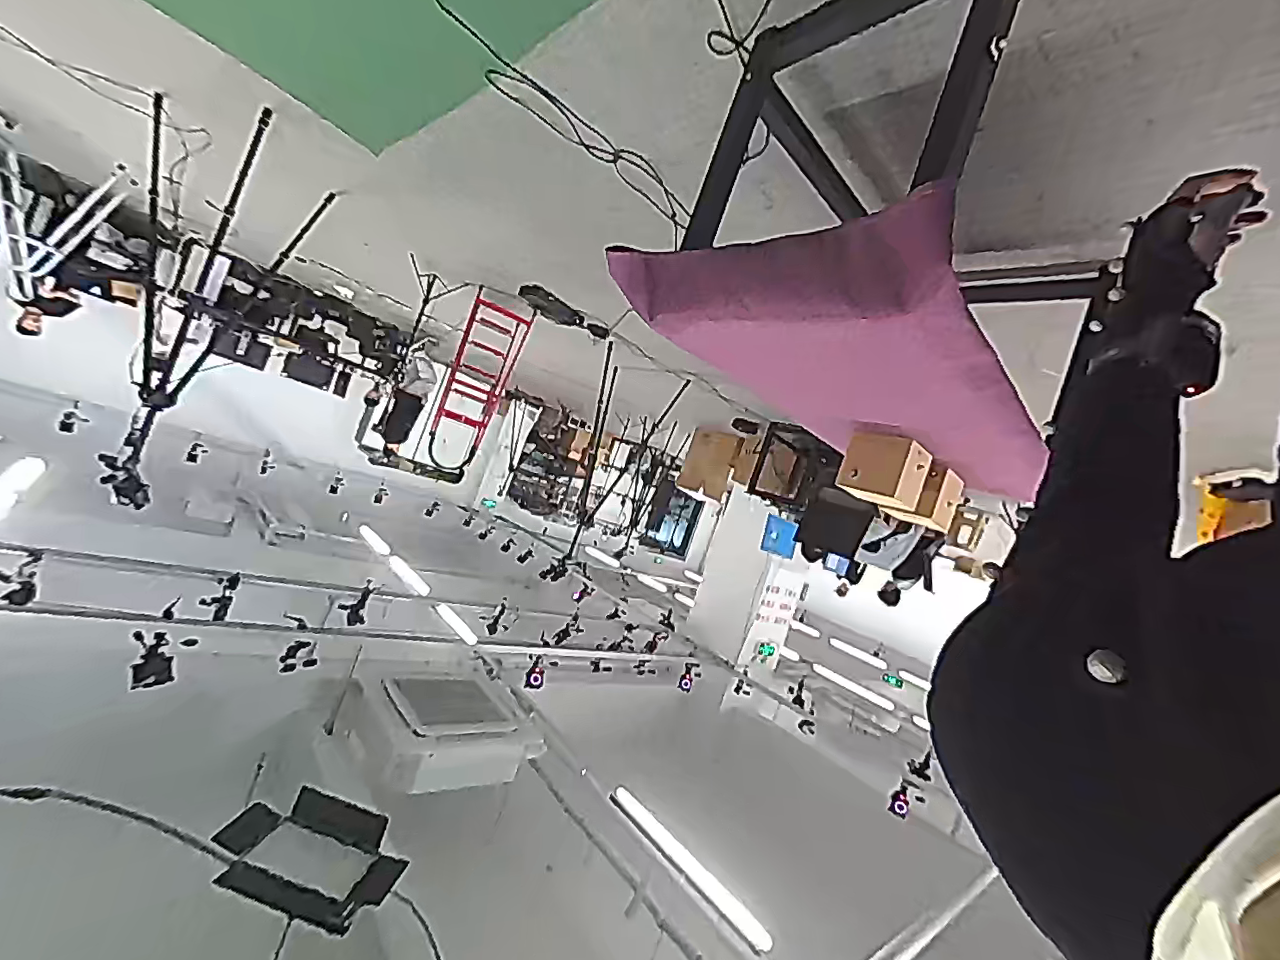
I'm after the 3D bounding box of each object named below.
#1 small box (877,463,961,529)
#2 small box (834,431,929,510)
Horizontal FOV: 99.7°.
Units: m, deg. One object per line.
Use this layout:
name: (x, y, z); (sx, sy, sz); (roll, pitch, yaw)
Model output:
small box: (0.880, 0.039, 1.702); (0.179, 0.176, 0.168); (20, 178, -43)
small box: (0.692, -0.032, 1.545); (0.168, 0.176, 0.179); (21, 177, -44)
